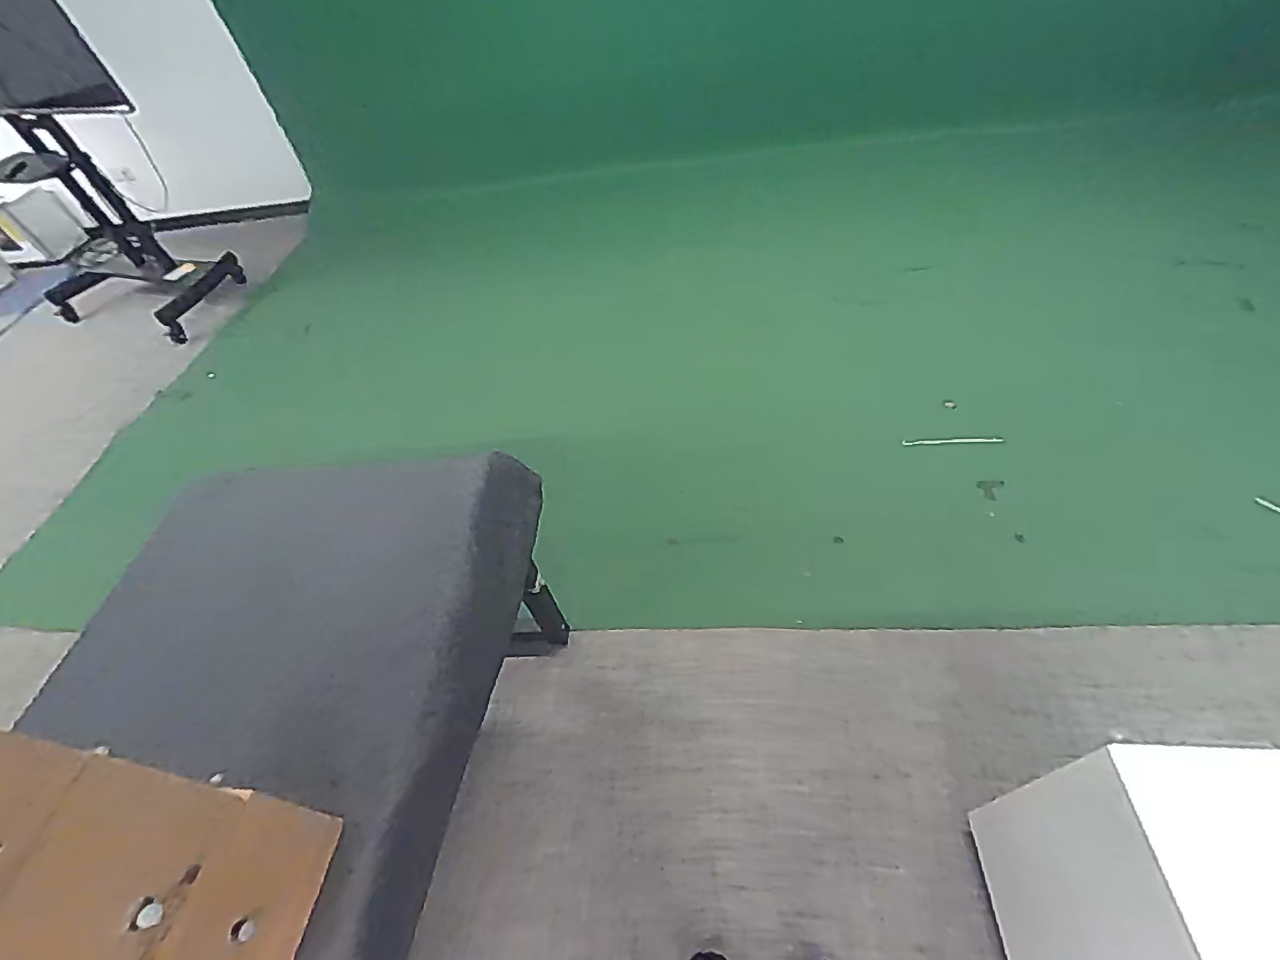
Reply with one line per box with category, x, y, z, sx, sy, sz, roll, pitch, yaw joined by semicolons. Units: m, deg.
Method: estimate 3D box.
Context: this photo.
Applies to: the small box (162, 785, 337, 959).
small box;-0.449;0.413;0.543;0.168;0.176;0.179;-1;51;10
